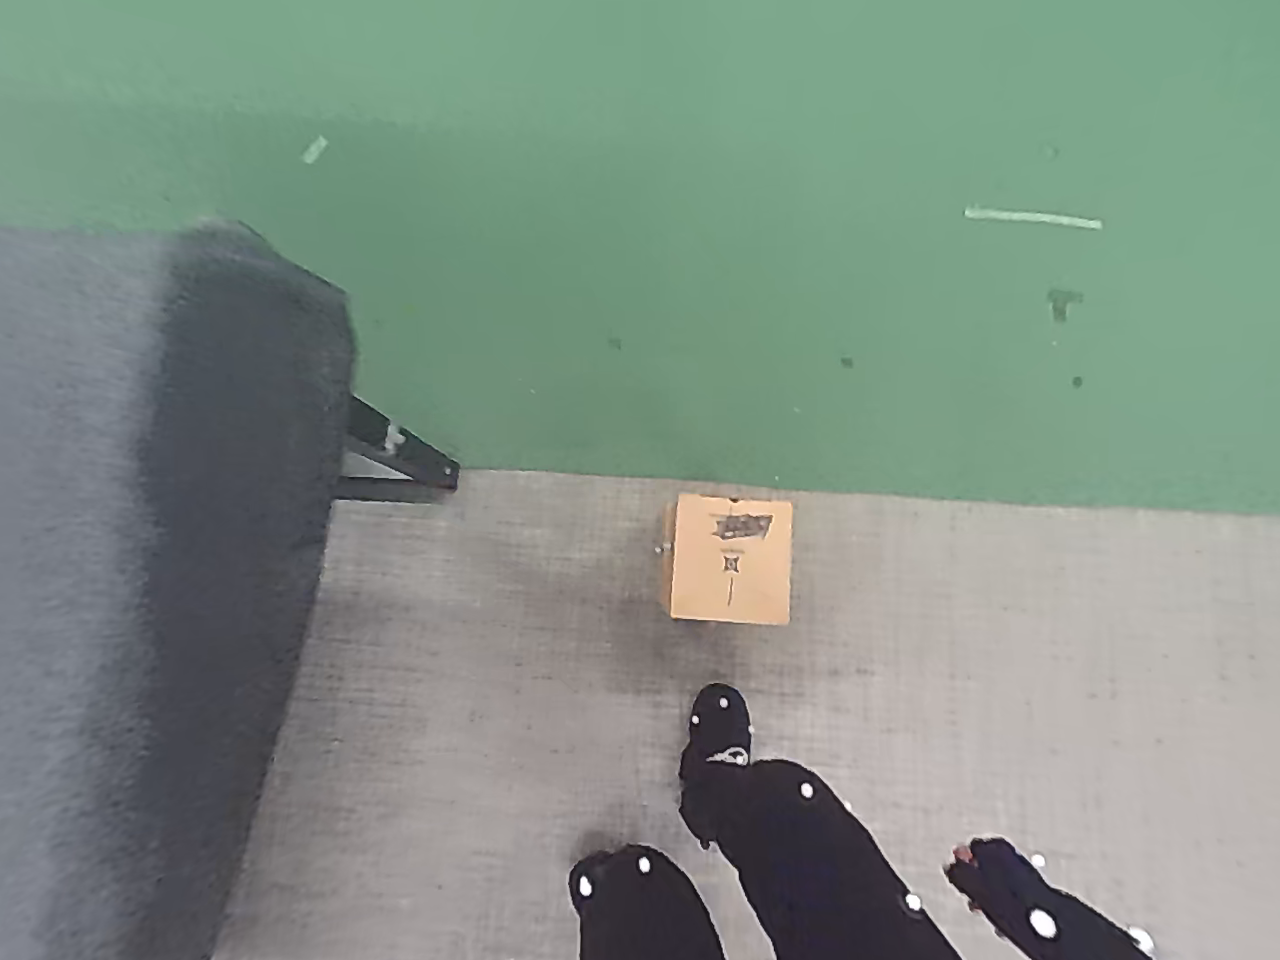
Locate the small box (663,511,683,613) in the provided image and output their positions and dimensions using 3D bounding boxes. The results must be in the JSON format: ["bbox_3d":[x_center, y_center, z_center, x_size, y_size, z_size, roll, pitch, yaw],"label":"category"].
[{"bbox_3d":[0.131,0.158,0.999,0.168,0.176,0.179,3,80,1],"label":"small box"}]

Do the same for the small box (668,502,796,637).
[{"bbox_3d":[0.134,0.138,0.835,0.168,0.176,0.179,5,80,1],"label":"small box"}]
